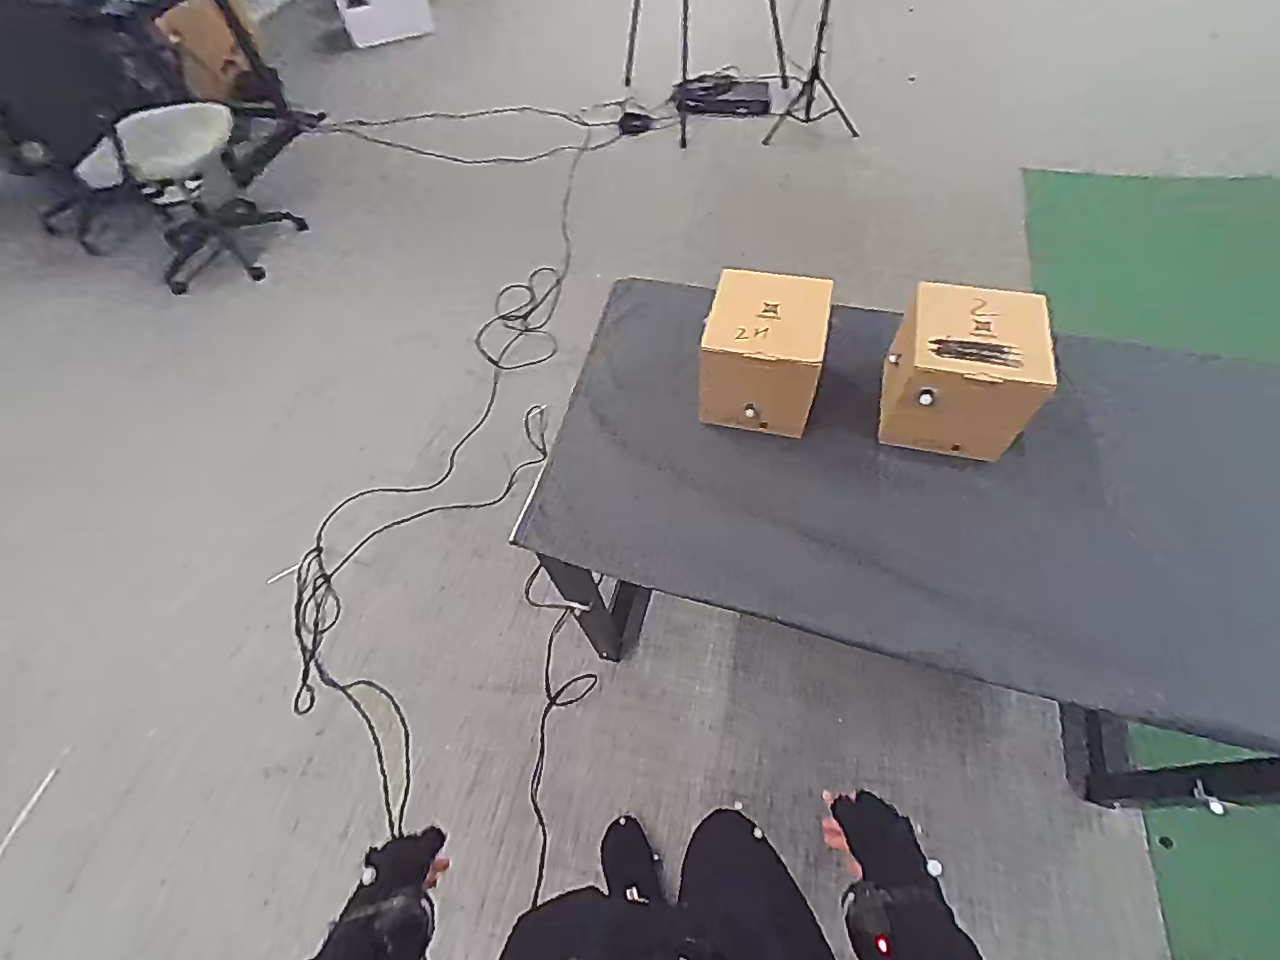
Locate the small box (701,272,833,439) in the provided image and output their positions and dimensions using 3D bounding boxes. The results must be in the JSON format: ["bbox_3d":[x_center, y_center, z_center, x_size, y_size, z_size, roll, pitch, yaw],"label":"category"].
[{"bbox_3d":[0.191,-0.191,0.840,0.168,0.176,0.179,11,60,12],"label":"small box"}]
